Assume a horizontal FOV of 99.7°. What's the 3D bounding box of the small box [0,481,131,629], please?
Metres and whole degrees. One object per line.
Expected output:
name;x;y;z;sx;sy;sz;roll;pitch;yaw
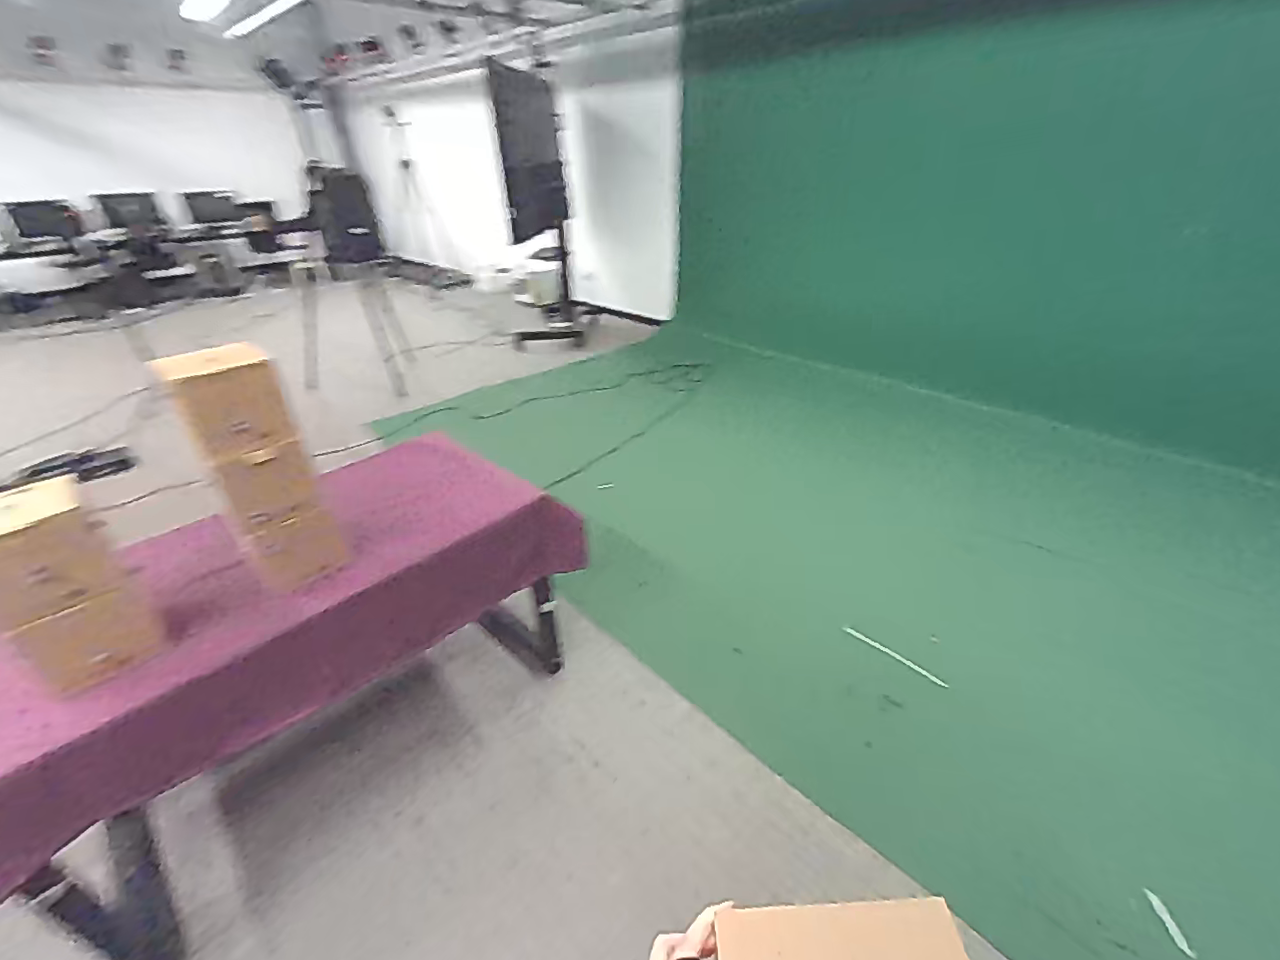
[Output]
small box;-1.035;0.131;0.941;0.179;0.176;0.168;26;40;38

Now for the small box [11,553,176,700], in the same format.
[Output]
small box;-1.027;0.274;1.024;0.179;0.176;0.168;26;41;38

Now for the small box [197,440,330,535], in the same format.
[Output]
small box;-0.798;-0.004;1.157;0.179;0.176;0.168;23;39;38

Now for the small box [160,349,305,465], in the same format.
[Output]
small box;-0.808;-0.148;1.081;0.179;0.176;0.168;24;39;36
